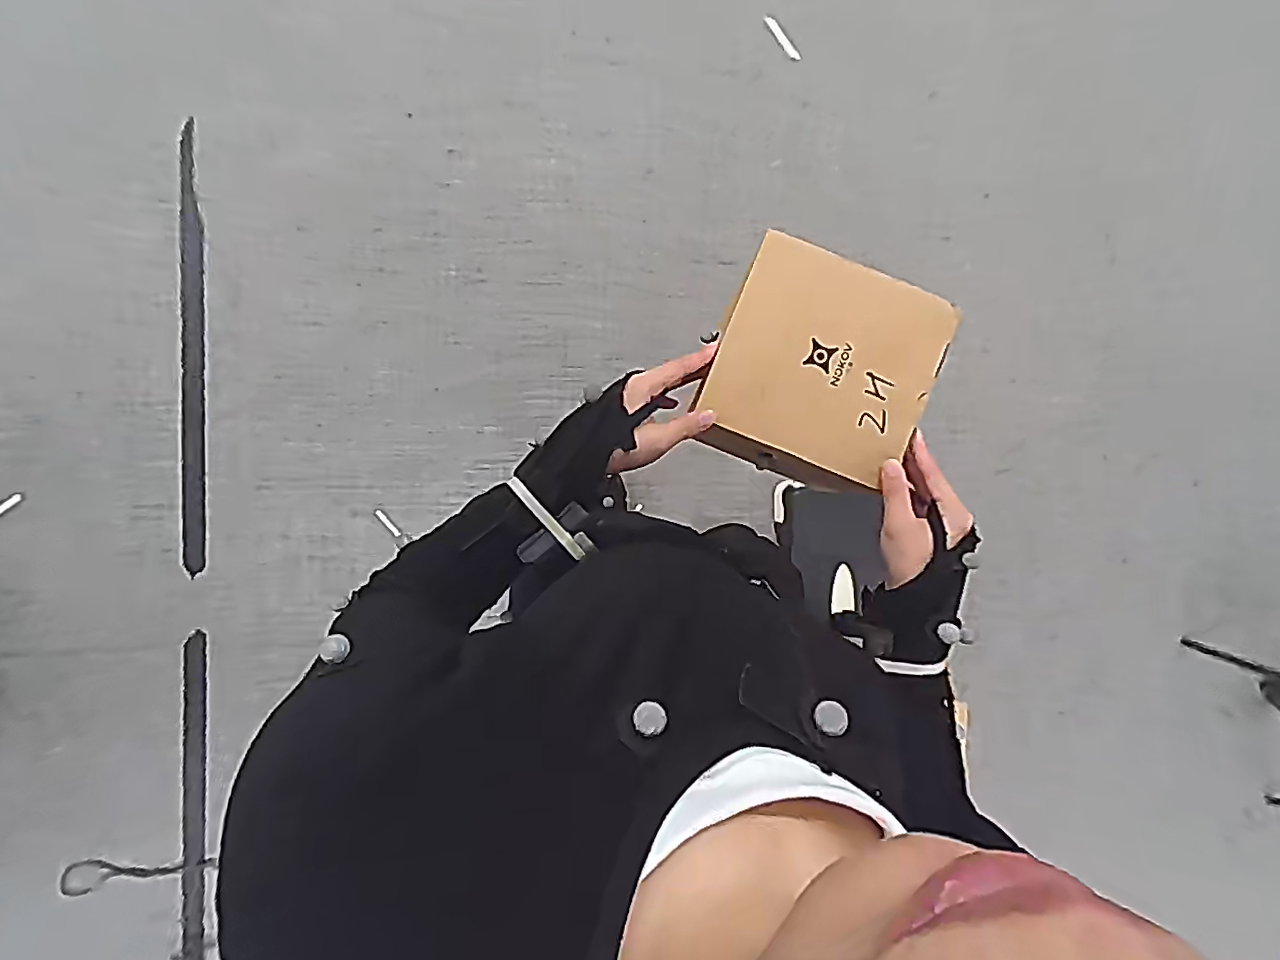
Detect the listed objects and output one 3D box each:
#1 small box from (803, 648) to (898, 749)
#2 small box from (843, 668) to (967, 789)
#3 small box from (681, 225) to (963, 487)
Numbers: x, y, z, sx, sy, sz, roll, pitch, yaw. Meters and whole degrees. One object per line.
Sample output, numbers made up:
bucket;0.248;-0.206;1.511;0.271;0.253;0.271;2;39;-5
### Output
small box;0.504;0.507;1.280;0.179;0.176;0.168;-2;92;-6
small box;0.538;0.507;1.119;0.168;0.176;0.179;4;90;-7
small box;0.149;-0.099;0.512;0.179;0.176;0.168;21;91;-2
